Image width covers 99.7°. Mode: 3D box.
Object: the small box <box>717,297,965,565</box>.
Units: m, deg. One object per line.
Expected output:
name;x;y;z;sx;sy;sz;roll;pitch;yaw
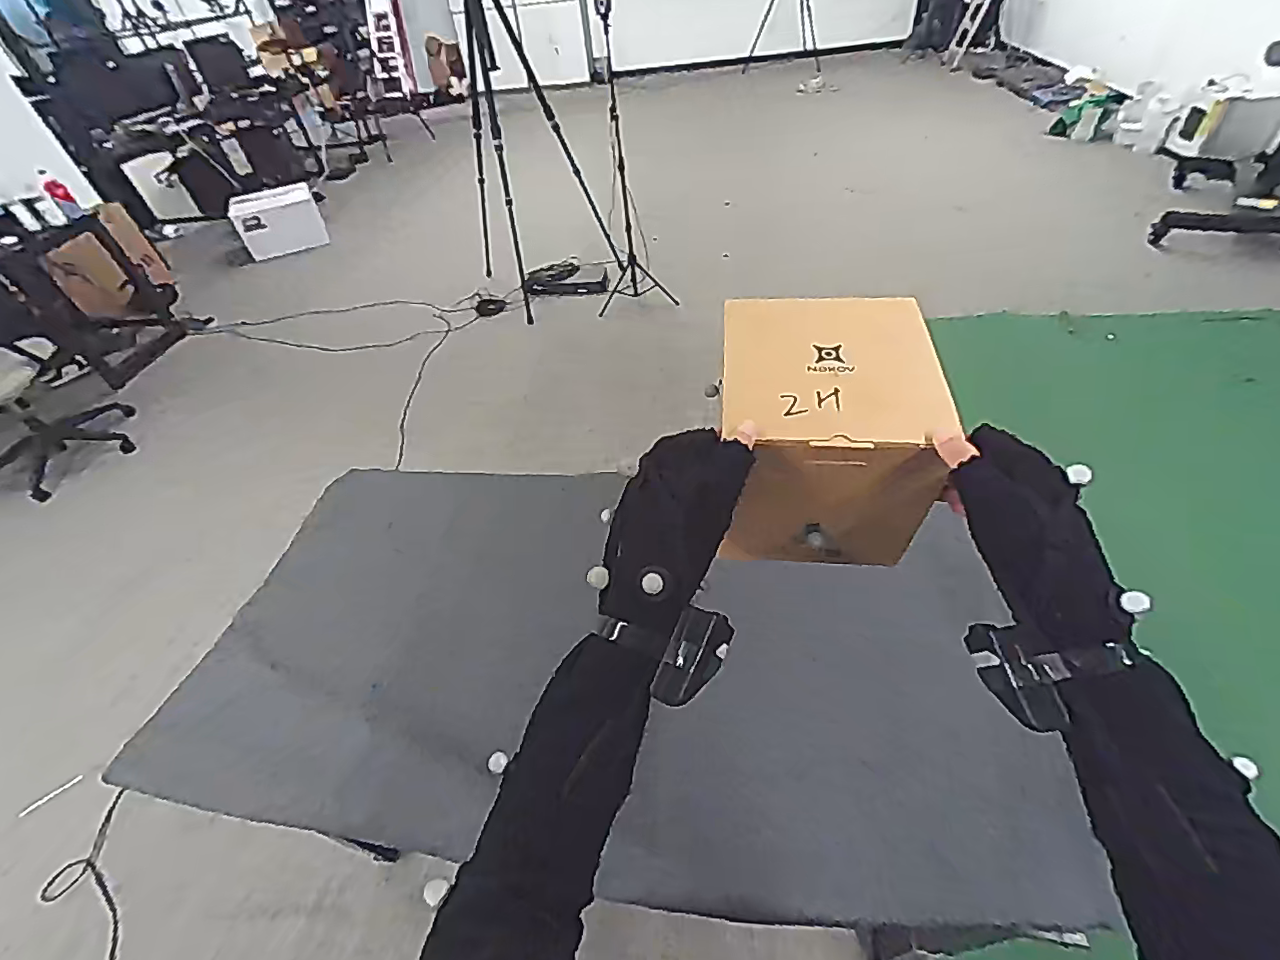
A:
small box;0.157;-0.045;0.491;0.168;0.176;0.179;2;52;8
